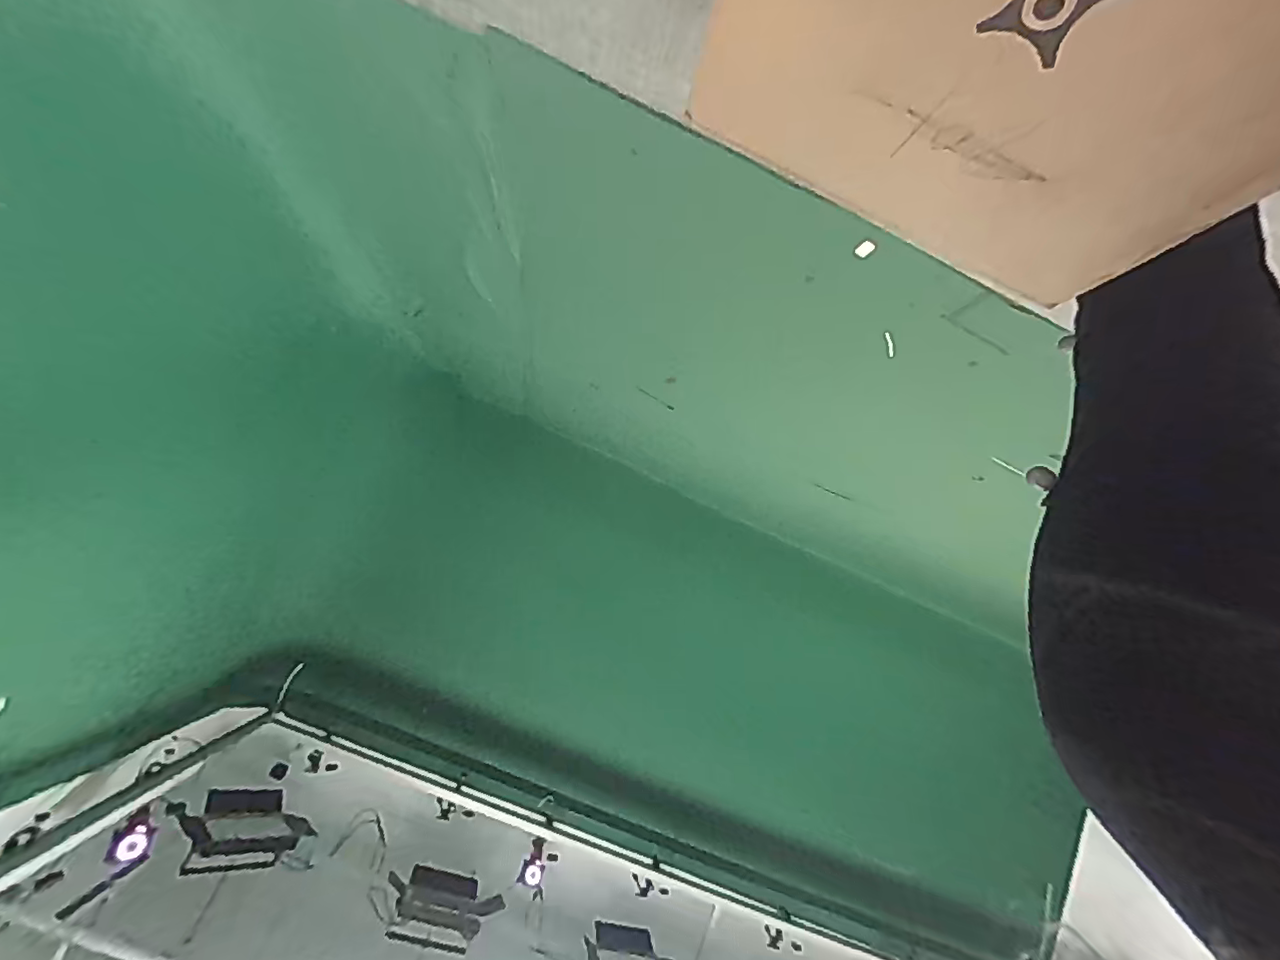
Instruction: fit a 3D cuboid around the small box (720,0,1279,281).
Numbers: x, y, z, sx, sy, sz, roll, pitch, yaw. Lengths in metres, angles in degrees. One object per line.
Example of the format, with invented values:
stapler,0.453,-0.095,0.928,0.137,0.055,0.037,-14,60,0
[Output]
small box,0.146,-0.201,0.151,0.168,0.176,0.179,27,170,-1
